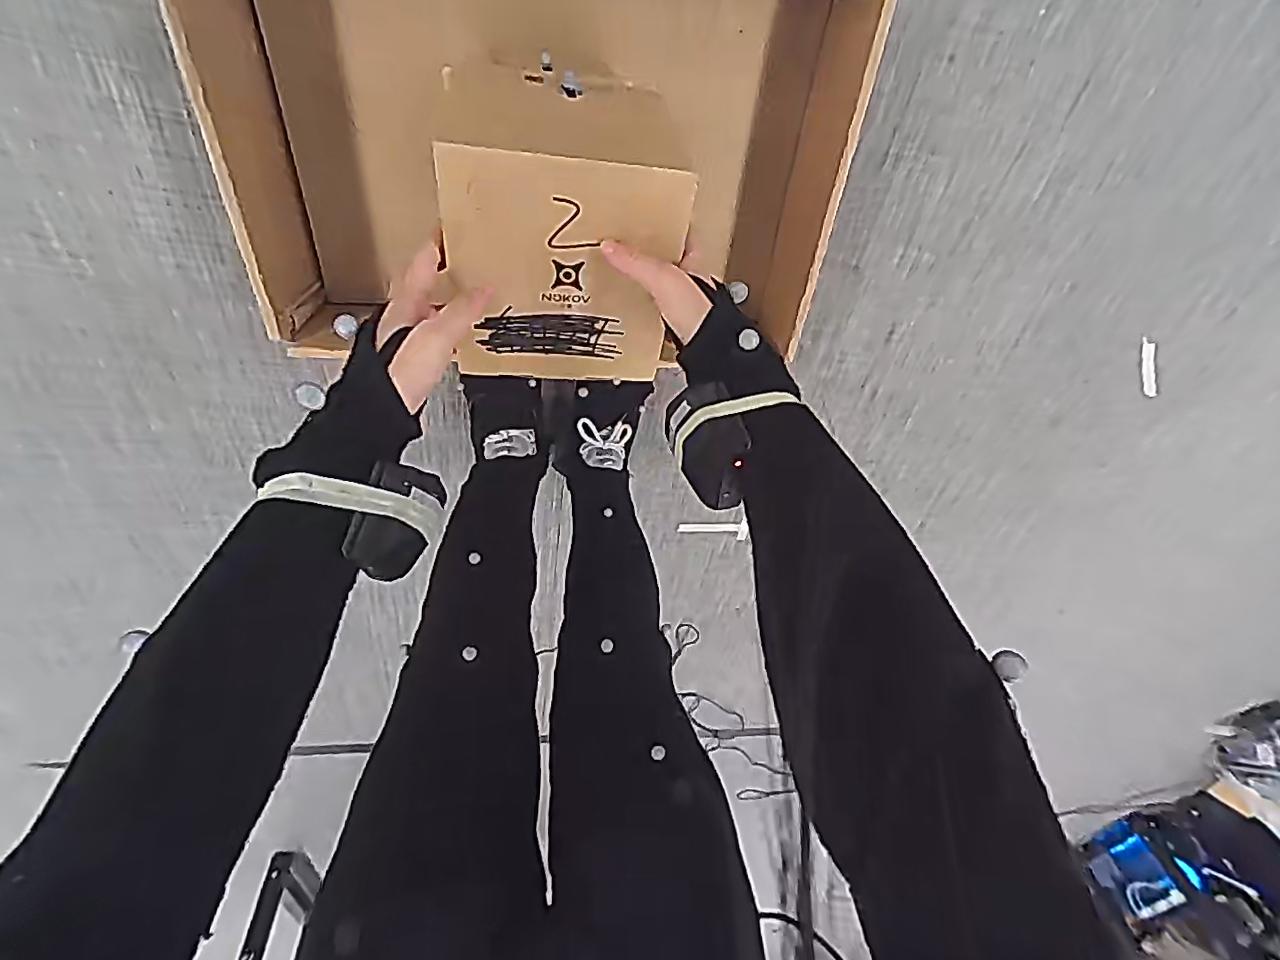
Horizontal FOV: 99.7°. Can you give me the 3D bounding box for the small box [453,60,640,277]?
[{"bbox_3d":[-0.097,-0.335,0.582,0.168,0.176,0.179,-1,128,-8],"label":"small box"}]
